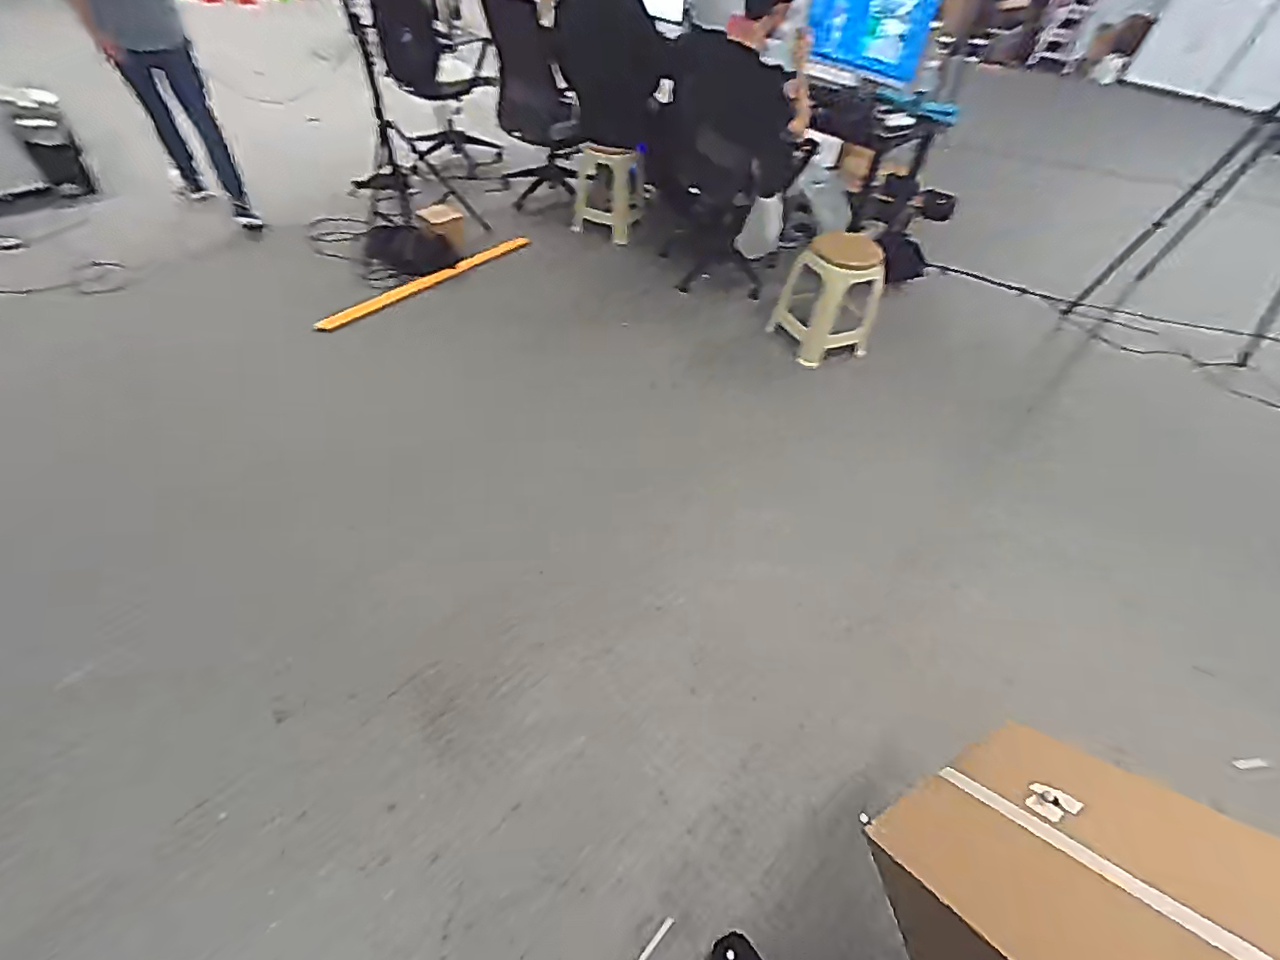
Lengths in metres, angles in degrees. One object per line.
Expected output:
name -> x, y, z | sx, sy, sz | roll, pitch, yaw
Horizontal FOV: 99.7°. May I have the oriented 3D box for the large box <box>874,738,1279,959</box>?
large box -> 0.582, 0.601, 0.644 | 0.320, 0.408, 0.320 | -23, 96, -16
